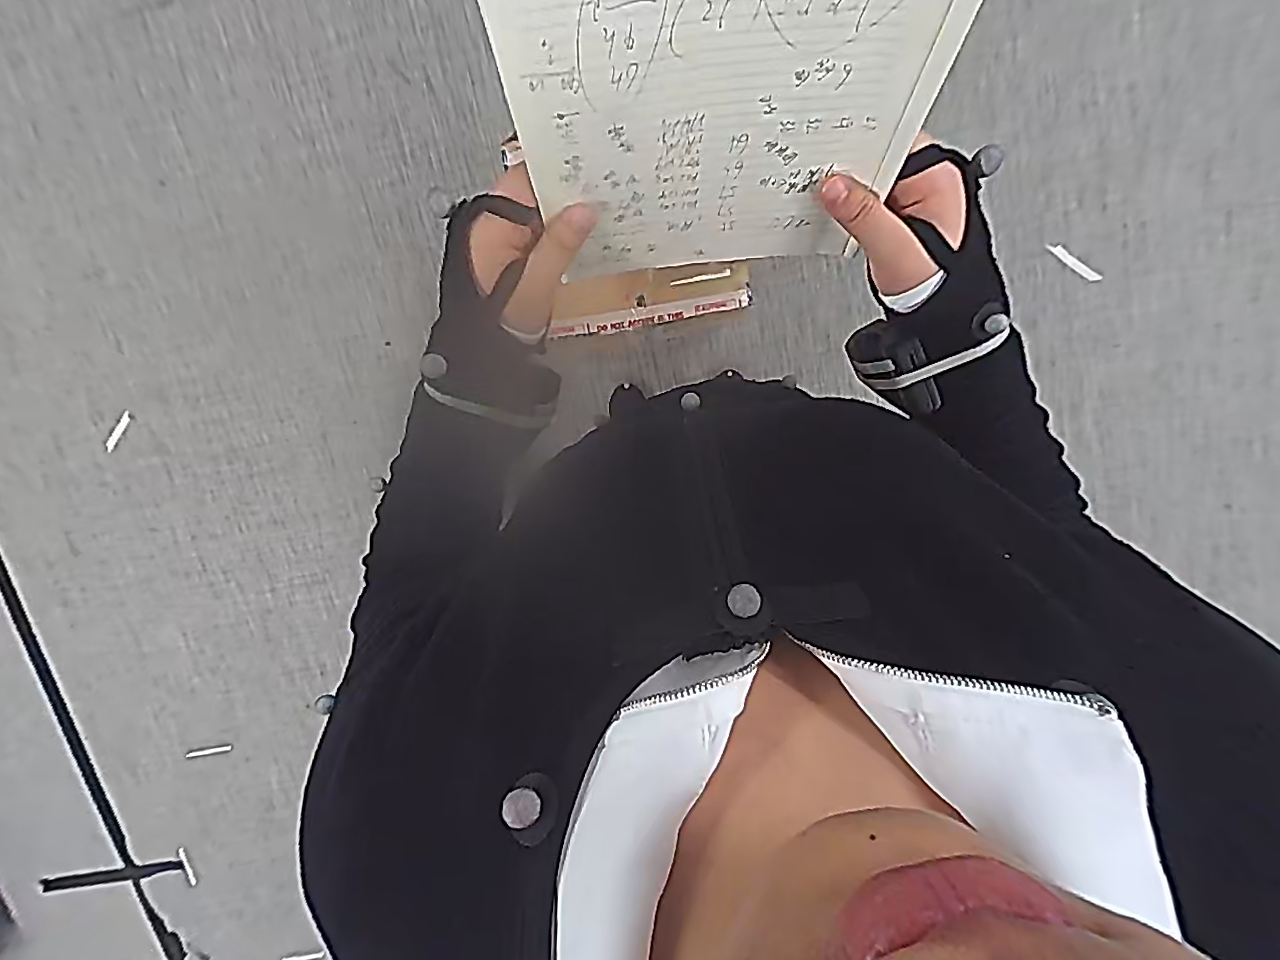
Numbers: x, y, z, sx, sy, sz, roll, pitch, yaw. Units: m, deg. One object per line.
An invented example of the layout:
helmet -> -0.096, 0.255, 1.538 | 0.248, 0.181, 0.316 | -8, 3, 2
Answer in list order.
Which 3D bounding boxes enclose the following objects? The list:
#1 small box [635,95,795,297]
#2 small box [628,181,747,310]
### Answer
small box -> 0.086, -0.348, 0.698 | 0.168, 0.176, 0.179 | -10, 102, 2
small box -> 0.082, -0.379, 0.860 | 0.179, 0.176, 0.168 | -13, 101, 3
